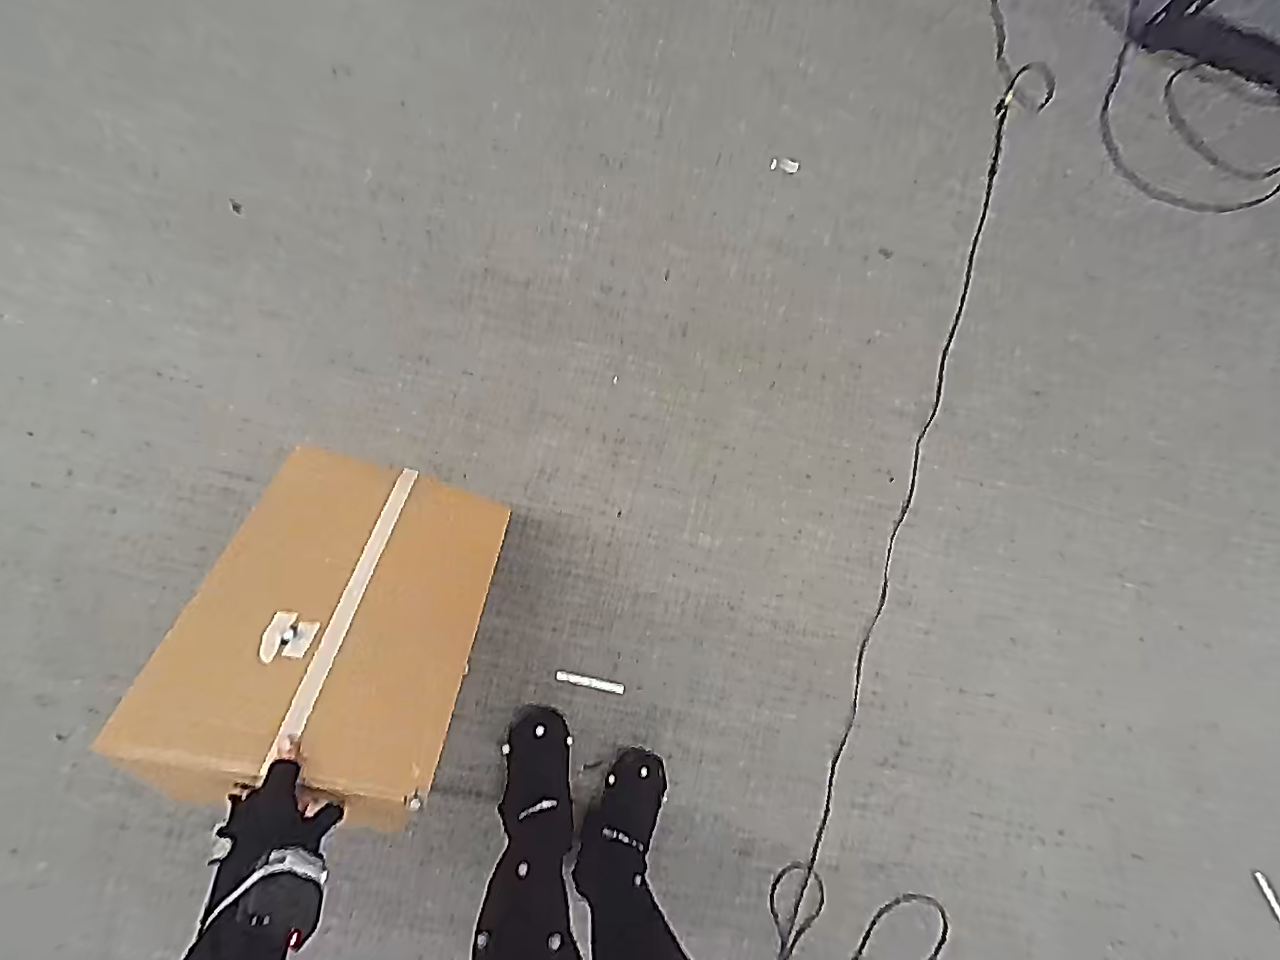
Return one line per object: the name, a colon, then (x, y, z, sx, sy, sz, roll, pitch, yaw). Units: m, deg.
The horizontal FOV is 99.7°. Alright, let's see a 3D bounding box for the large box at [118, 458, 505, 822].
large box: (-0.426, 0.247, 0.809, 0.320, 0.320, 0.408, 18, 50, -14)
